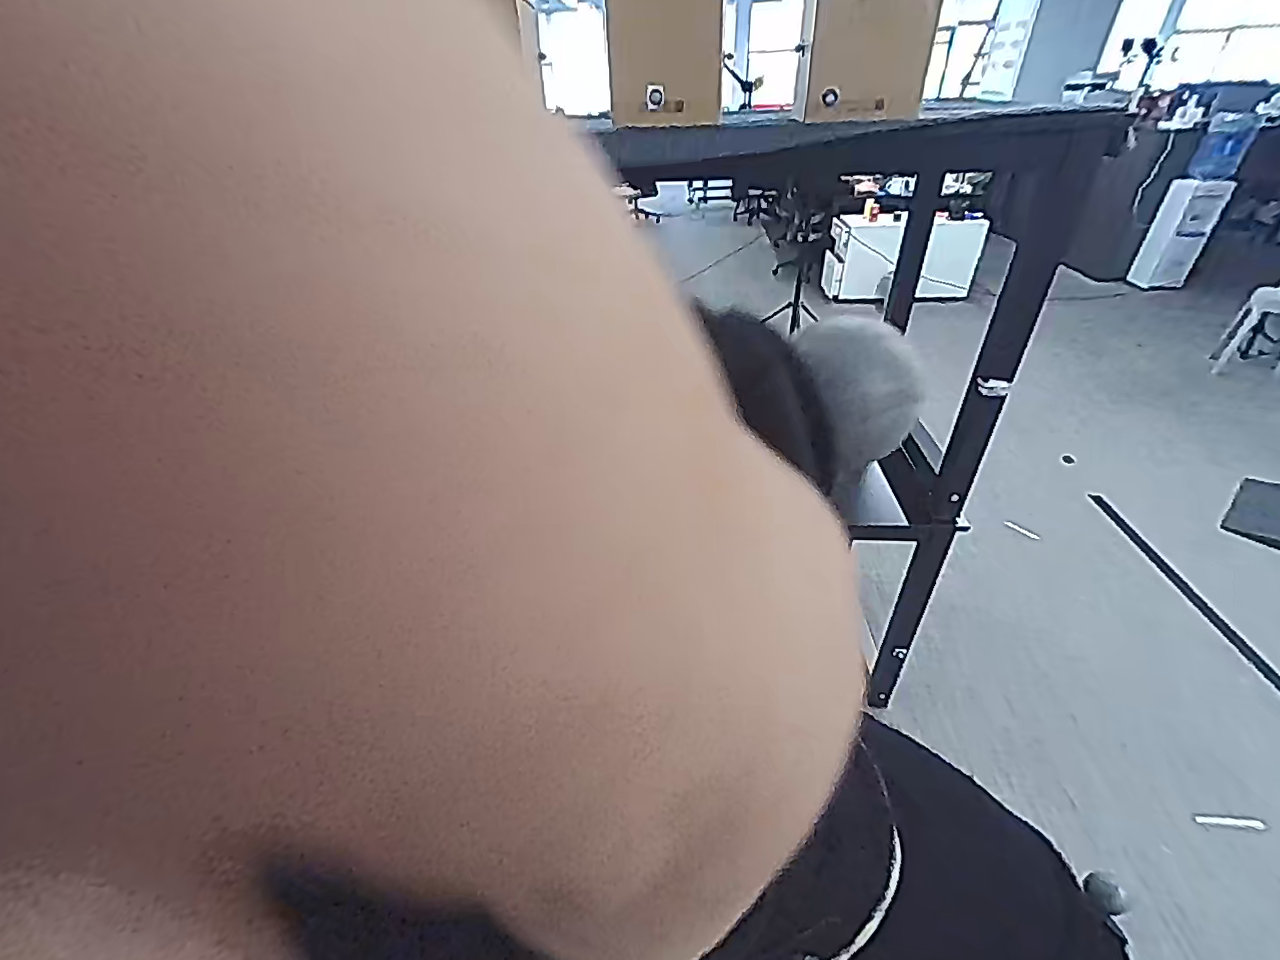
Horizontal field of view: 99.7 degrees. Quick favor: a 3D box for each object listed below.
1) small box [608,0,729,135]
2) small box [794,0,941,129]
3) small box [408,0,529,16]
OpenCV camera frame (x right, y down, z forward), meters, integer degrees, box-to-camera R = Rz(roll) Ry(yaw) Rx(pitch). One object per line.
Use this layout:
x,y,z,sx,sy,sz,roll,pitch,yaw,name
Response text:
0.049,-0.635,0.834,0.168,0.176,0.179,2,35,8,small box
0.332,-0.636,0.815,0.168,0.176,0.179,2,35,6,small box
-0.254,-0.772,0.756,0.168,0.176,0.179,-1,35,-2,small box
